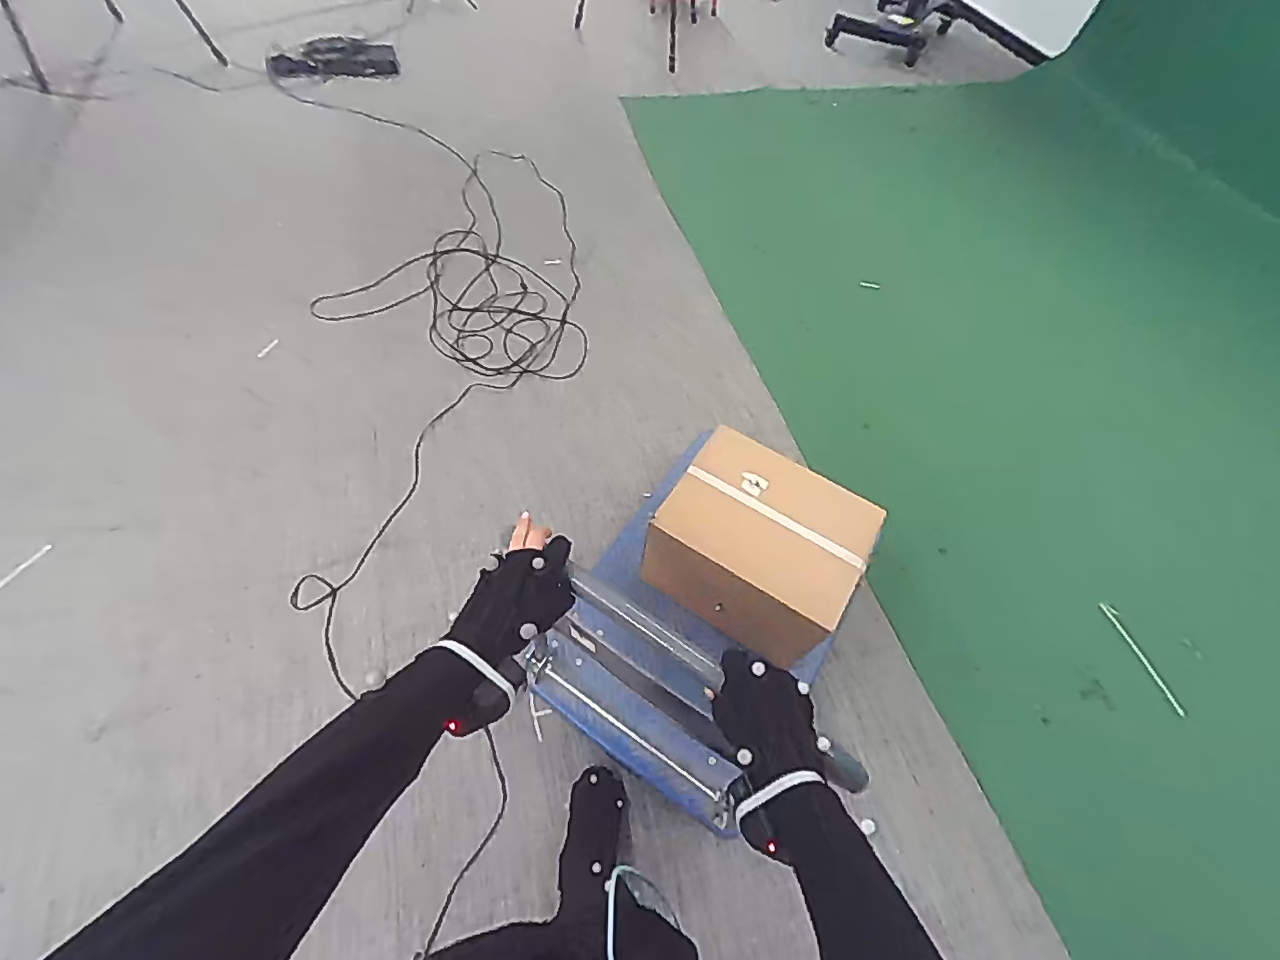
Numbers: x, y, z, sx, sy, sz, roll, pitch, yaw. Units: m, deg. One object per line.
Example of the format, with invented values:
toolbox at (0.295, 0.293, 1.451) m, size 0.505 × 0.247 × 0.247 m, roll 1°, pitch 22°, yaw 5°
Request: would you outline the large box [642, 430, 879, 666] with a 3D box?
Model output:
large box at (0.257, 0.162, 1.248) m, size 0.408 × 0.320 × 0.320 m, roll 30°, pitch 60°, yaw 15°
